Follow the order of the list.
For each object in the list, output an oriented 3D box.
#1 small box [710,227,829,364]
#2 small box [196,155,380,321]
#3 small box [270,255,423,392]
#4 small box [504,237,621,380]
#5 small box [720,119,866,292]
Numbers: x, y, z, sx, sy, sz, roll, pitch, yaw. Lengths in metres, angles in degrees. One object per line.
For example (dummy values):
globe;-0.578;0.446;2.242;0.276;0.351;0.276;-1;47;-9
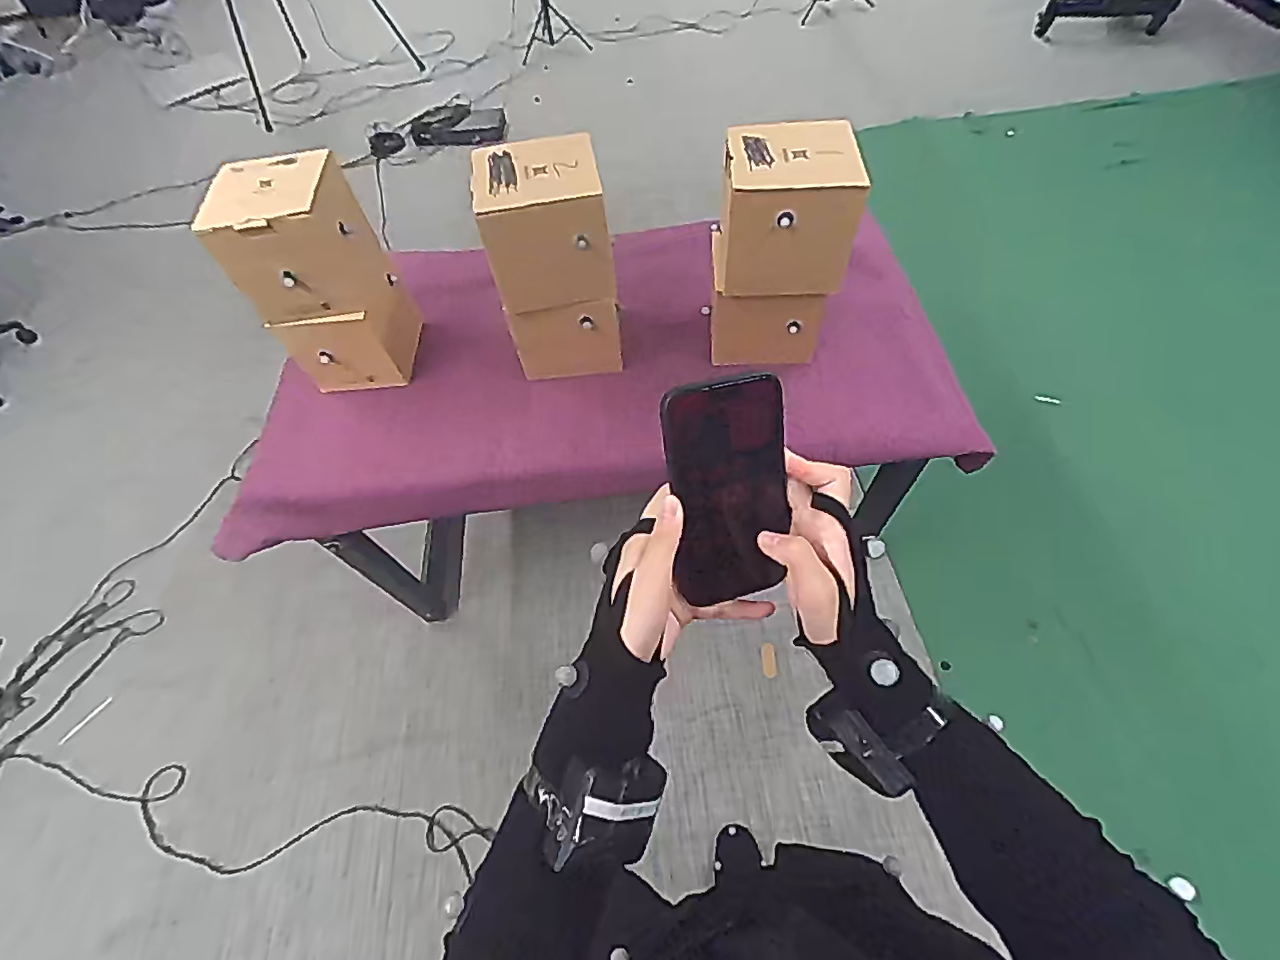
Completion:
small box;0.213;-0.319;0.938;0.179;0.176;0.168;-1;58;6
small box;-0.531;-0.369;0.848;0.168;0.176;0.179;-9;58;-1
small box;-0.517;-0.275;0.982;0.168;0.176;0.179;-5;57;2
small box;-0.127;-0.297;0.956;0.179;0.176;0.168;-6;57;2
small box;0.208;-0.394;0.791;0.179;0.176;0.168;-1;58;5
